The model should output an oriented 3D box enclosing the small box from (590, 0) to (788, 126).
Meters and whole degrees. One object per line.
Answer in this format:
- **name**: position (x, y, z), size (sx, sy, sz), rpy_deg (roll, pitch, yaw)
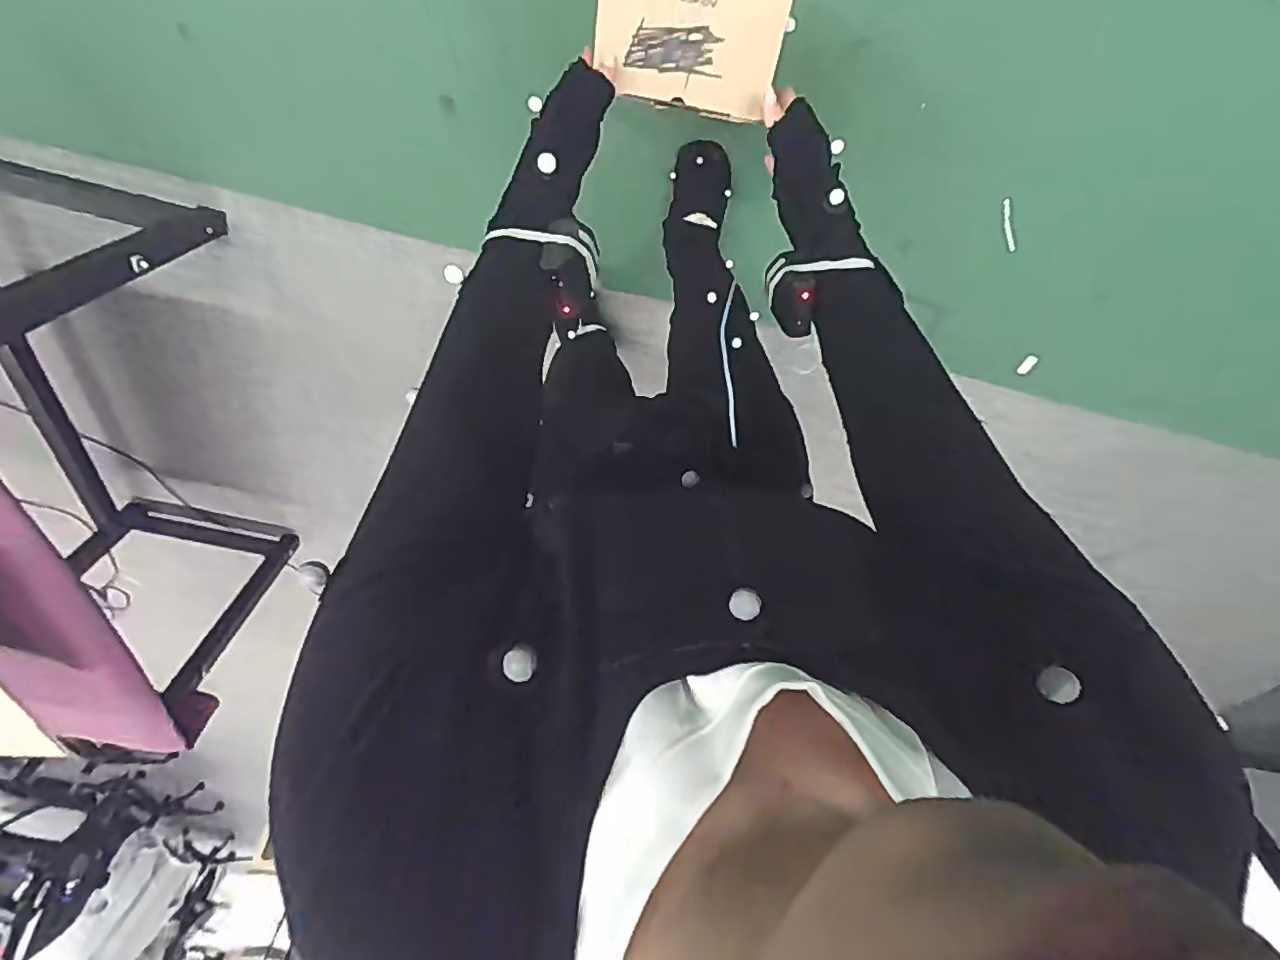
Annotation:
- **small box**: position (0.051, -0.469, 0.520), size (0.168, 0.176, 0.179), rpy_deg (9, 129, -4)
